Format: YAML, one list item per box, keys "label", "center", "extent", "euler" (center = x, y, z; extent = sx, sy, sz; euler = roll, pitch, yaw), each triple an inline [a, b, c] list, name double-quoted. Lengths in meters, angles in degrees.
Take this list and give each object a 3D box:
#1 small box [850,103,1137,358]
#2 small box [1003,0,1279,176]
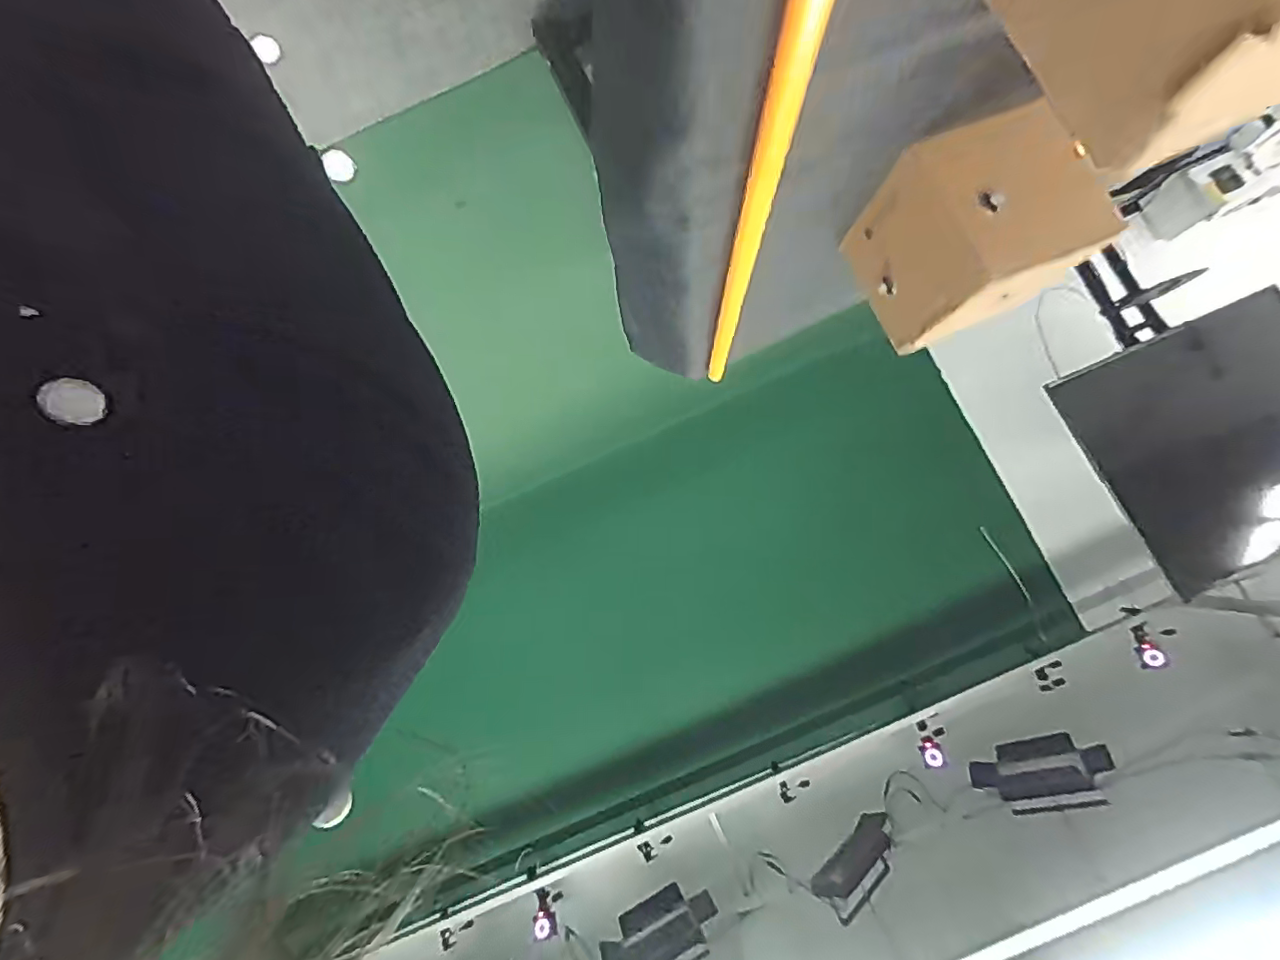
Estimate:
- label: "small box"
  center: [0.374, -0.273, 0.611]
  extent: [0.179, 0.176, 0.168]
  euler: [-25, 172, -8]
- label: "small box"
  center: [0.351, -0.322, 0.293]
  extent: [0.179, 0.176, 0.168]
  euler: [-26, 169, 3]
